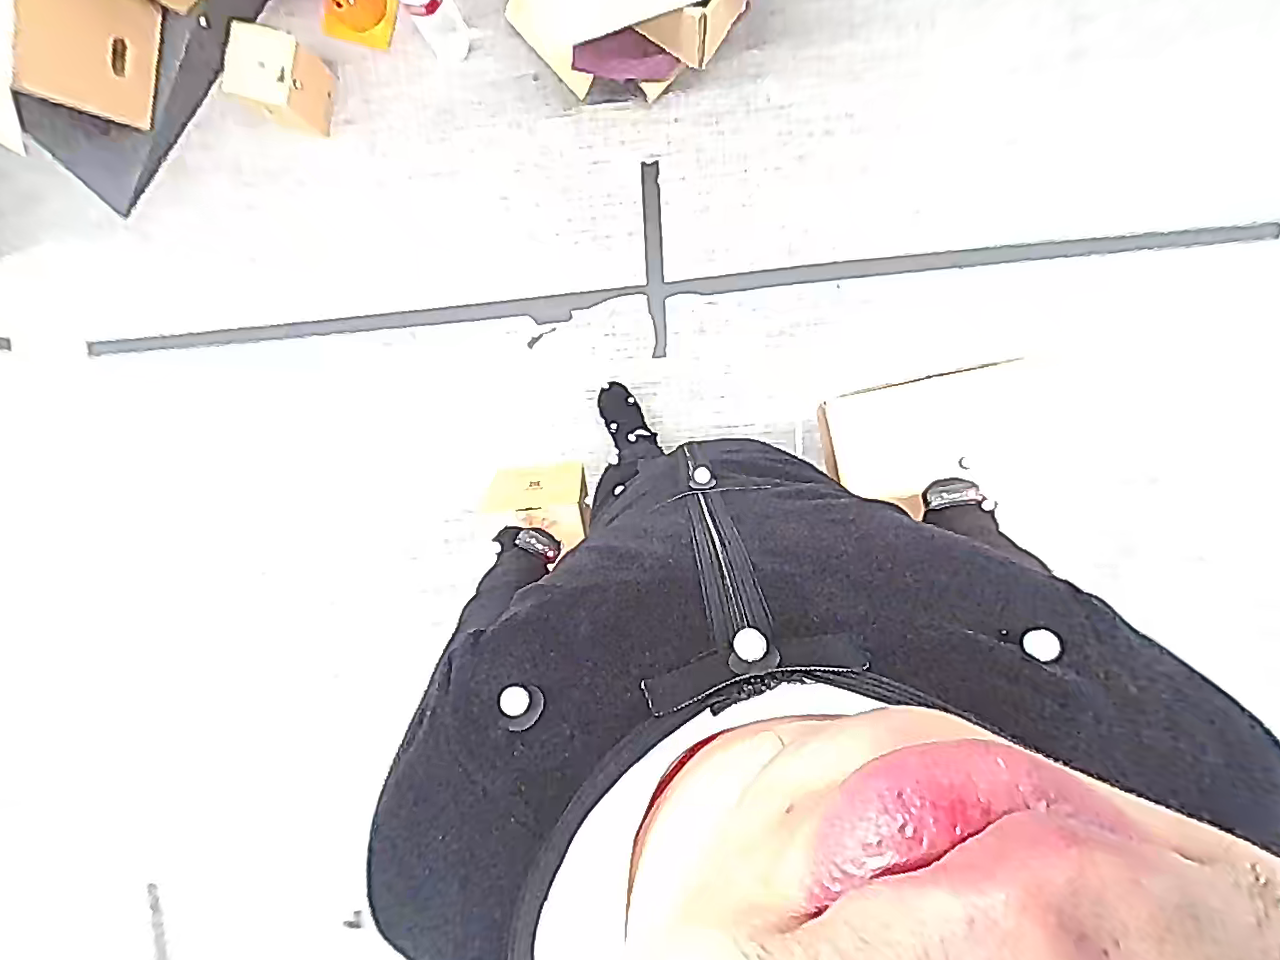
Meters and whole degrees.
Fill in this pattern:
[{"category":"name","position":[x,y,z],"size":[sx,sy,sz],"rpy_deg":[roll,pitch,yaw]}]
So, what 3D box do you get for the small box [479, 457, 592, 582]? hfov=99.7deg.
[{"category":"small box","position":[-0.181,0.074,0.997],"size":[0.168,0.179,0.176],"rpy_deg":[-5,117,-1]}]
